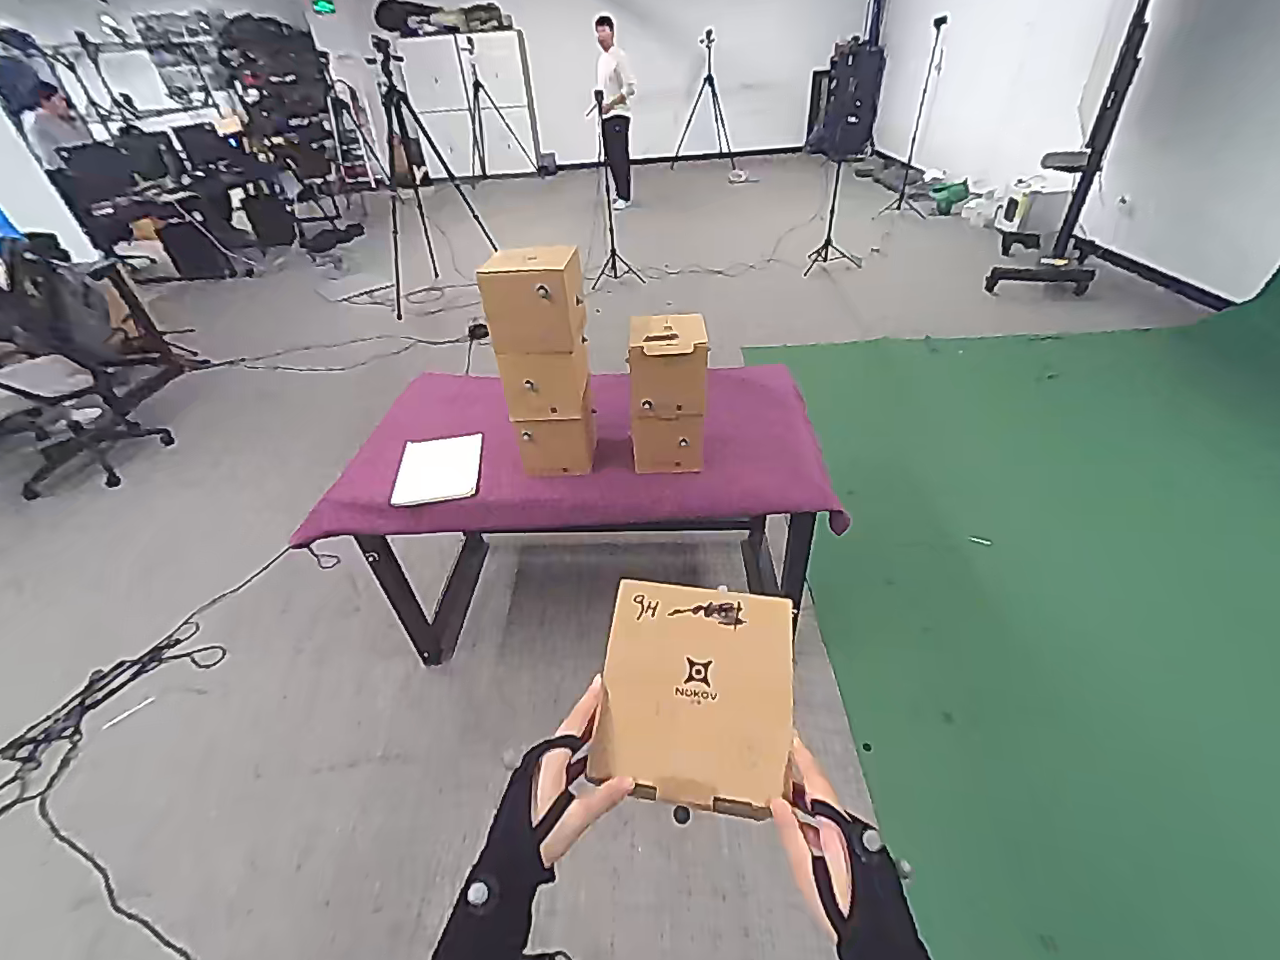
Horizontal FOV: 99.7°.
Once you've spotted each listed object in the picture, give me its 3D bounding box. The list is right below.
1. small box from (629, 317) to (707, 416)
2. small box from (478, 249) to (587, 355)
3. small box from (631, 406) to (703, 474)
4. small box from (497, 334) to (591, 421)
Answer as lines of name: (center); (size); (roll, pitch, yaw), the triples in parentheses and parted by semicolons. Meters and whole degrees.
small box: (0.065, -0.254, 1.224); (0.168, 0.176, 0.179); (-1, 36, 3)
small box: (-0.213, -0.372, 1.133); (0.179, 0.176, 0.168); (0, 37, 6)
small box: (0.070, -0.127, 1.327); (0.168, 0.176, 0.179); (-1, 37, 4)
small box: (-0.210, -0.244, 1.239); (0.168, 0.176, 0.179); (-1, 37, 4)
